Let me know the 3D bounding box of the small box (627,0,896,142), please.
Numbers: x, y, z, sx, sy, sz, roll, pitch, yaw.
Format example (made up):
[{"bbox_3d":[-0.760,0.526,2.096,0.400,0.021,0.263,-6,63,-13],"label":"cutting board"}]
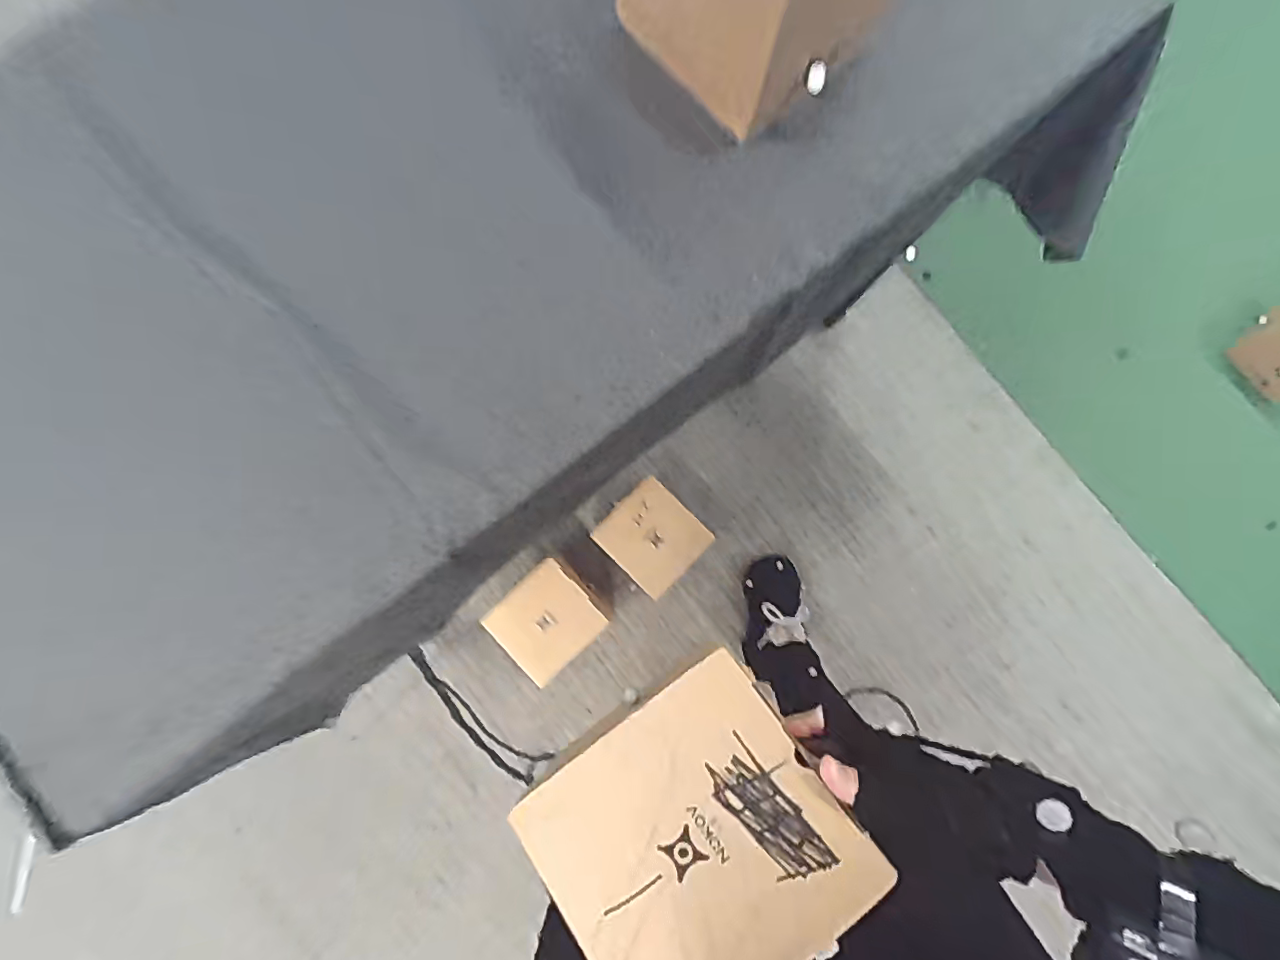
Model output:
[{"bbox_3d":[0.099,-0.418,0.416,0.168,0.176,0.179,-41,86,-4],"label":"small box"}]

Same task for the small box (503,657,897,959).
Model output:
[{"bbox_3d":[0.035,0.247,0.392,0.179,0.176,0.168,-36,76,-5],"label":"small box"}]

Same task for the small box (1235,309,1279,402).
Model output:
[{"bbox_3d":[1.472,-0.294,1.169,0.179,0.176,0.168,-39,86,-4],"label":"small box"}]
